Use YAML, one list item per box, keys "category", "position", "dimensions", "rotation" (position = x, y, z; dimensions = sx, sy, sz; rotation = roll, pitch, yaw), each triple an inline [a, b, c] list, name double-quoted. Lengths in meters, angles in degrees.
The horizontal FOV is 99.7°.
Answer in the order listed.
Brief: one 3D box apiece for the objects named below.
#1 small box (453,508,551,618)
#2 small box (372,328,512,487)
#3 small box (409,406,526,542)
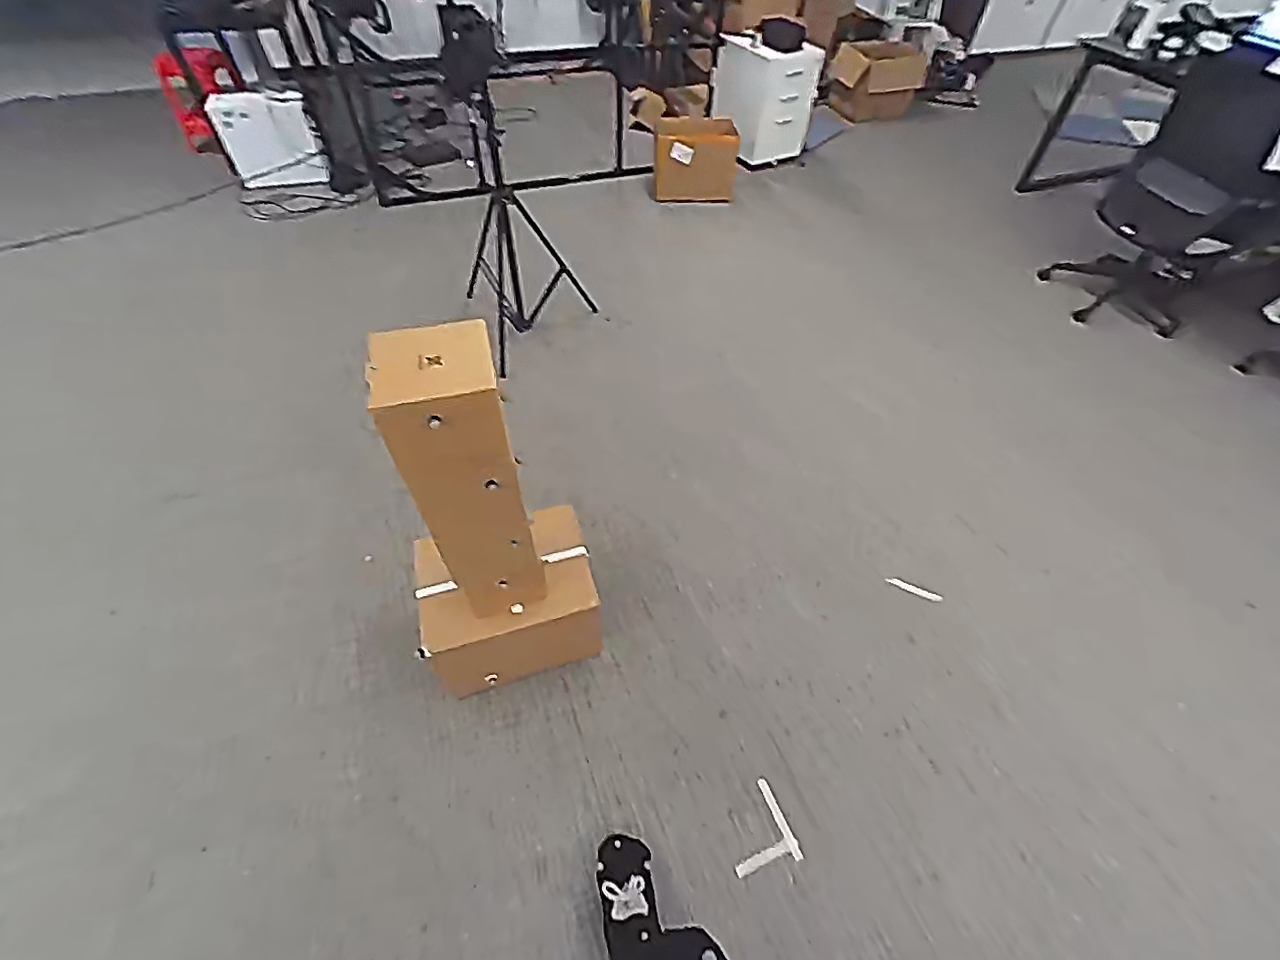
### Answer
- category: "small box"
  position: [-0.315, 0.194, 1.240]
  dimensions: [0.179, 0.176, 0.168]
  rotation: [-15, 55, -14]
- category: "small box"
  position: [-0.305, -0.113, 0.857]
  dimensions: [0.179, 0.176, 0.168]
  rotation: [-12, 54, -11]
- category: "small box"
  position: [-0.309, -0.011, 0.983]
  dimensions: [0.179, 0.176, 0.168]
  rotation: [-13, 53, -12]
